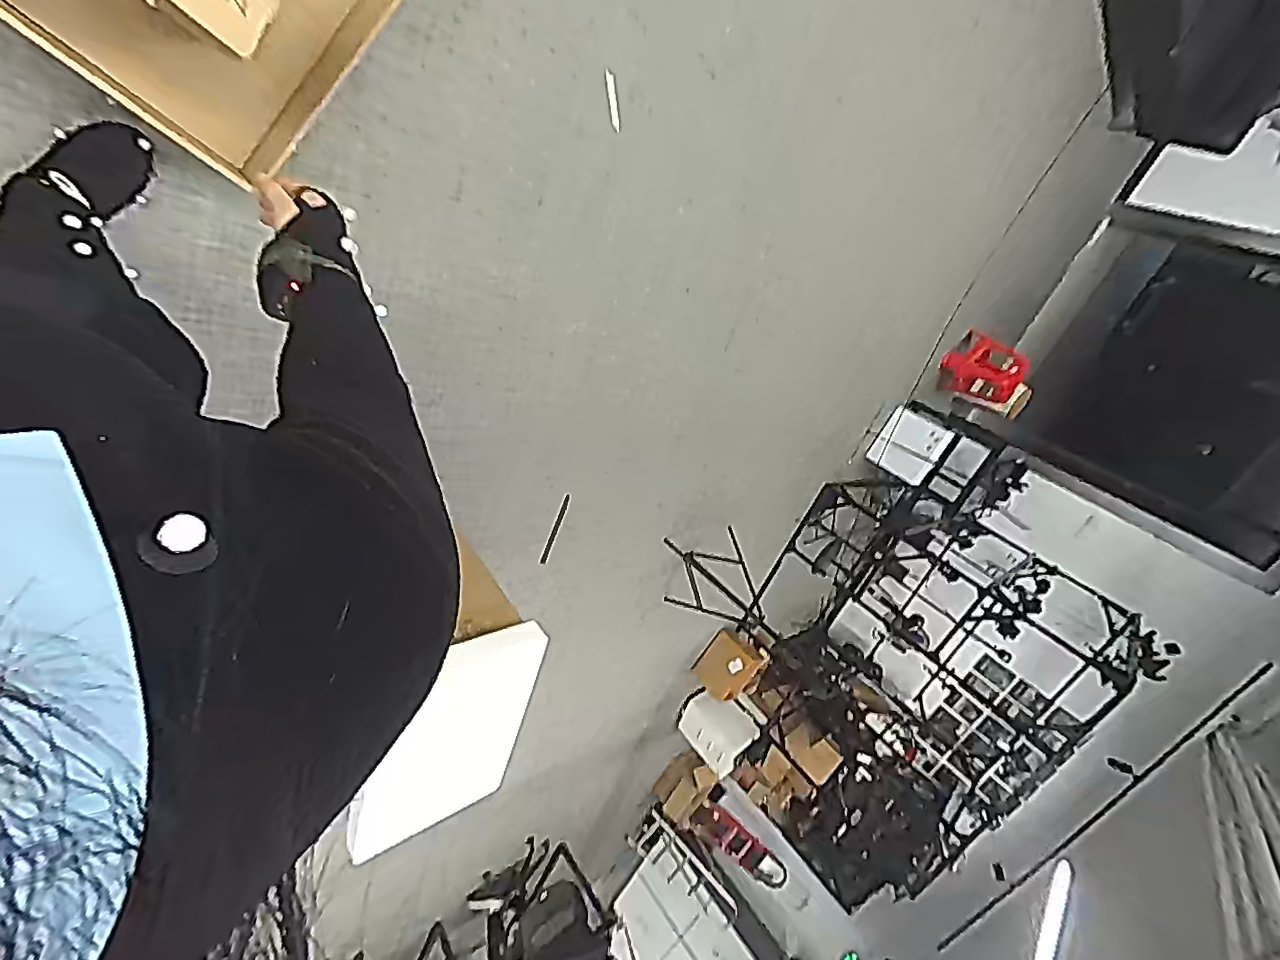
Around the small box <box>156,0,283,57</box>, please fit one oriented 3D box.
[{"bbox_3d":[-0.576,-0.692,0.694,0.168,0.176,0.179,-55,146,5],"label":"small box"}]
